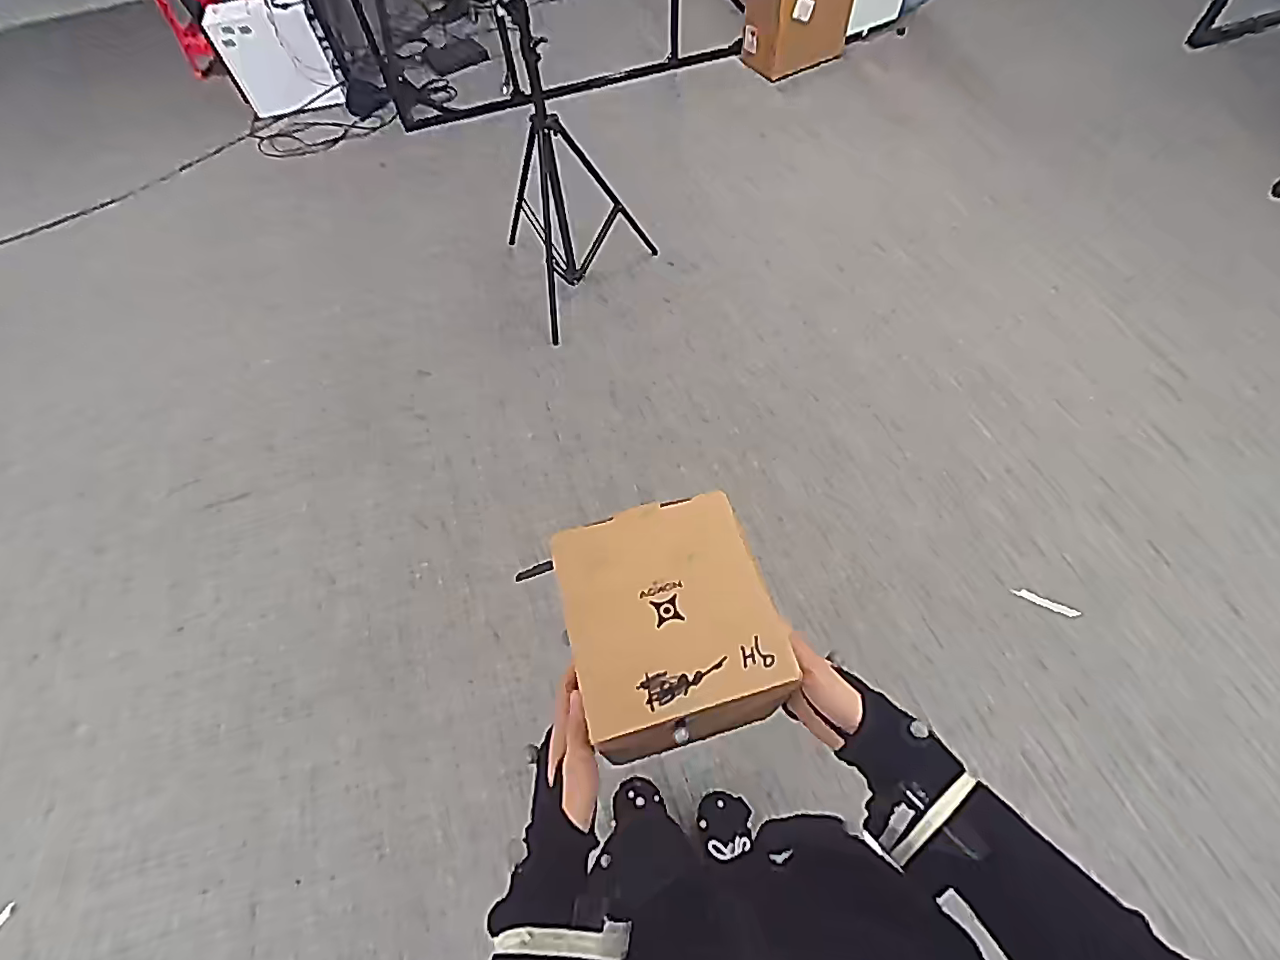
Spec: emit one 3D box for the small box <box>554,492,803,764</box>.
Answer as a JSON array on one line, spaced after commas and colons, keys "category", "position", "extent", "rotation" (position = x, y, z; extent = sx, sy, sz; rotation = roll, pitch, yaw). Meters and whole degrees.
[{"category": "small box", "position": [0.026, 0.142, 0.505], "extent": [0.168, 0.176, 0.179], "rotation": [-15, 57, -6]}]
